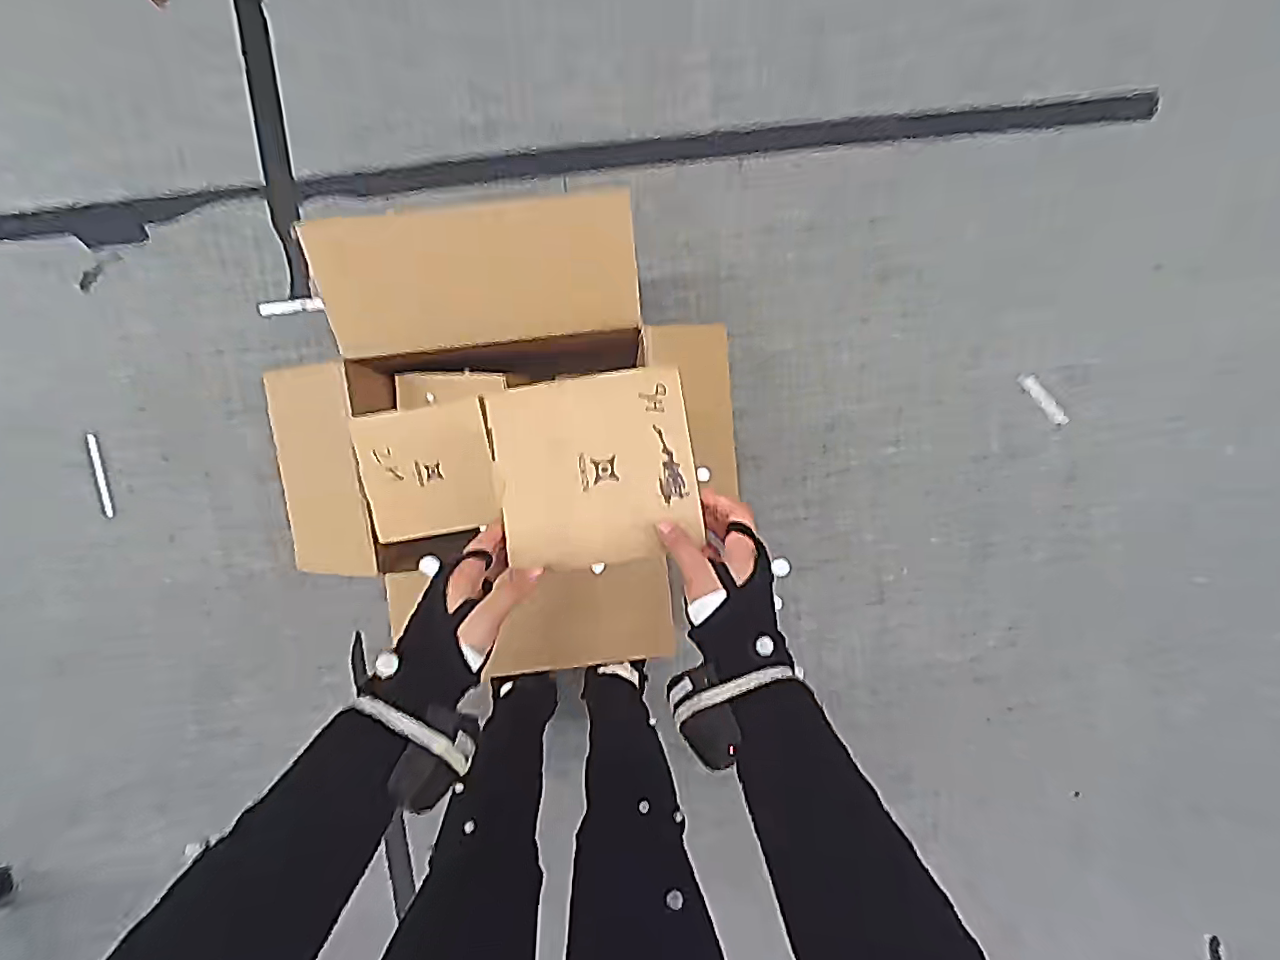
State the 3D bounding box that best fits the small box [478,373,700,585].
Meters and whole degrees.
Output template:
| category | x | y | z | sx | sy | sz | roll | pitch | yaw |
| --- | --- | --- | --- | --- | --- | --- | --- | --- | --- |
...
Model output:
| category | x | y | z | sx | sy | sz | roll | pitch | yaw |
| --- | --- | --- | --- | --- | --- | --- | --- | --- | --- |
| small box | -0.043 | 0.003 | 0.542 | 0.179 | 0.176 | 0.168 | -9 | 88 | 0 |
